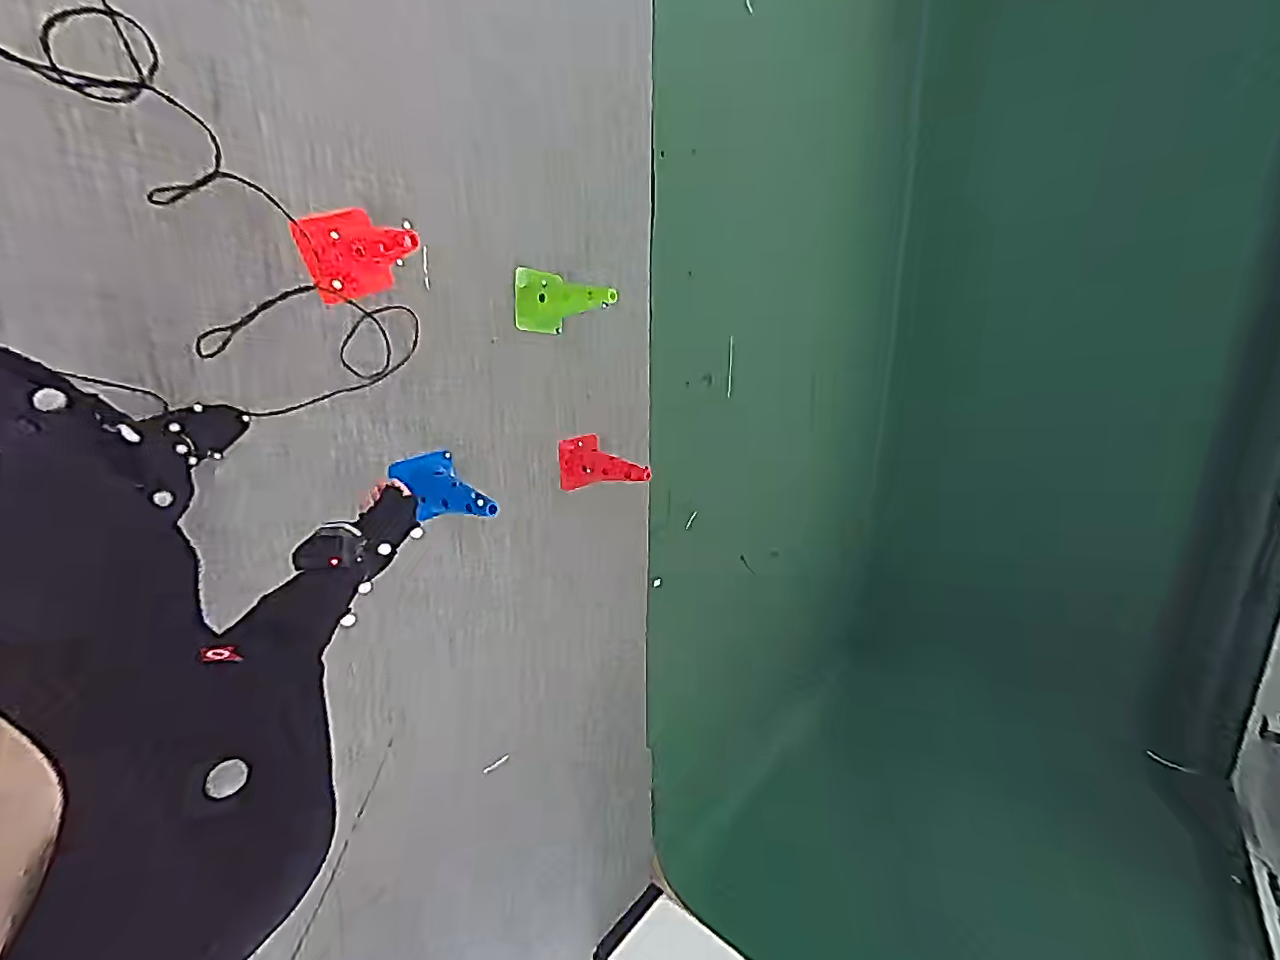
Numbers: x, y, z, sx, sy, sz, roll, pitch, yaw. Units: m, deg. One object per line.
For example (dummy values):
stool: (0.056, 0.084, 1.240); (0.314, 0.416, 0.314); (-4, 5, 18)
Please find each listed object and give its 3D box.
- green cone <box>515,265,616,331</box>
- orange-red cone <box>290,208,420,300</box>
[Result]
green cone: (-0.216, -0.592, 1.737); (0.202, 0.368, 0.200); (-11, 107, -47)
orange-red cone: (-0.623, -0.547, 1.269); (0.199, 0.360, 0.198); (-38, 128, -40)
